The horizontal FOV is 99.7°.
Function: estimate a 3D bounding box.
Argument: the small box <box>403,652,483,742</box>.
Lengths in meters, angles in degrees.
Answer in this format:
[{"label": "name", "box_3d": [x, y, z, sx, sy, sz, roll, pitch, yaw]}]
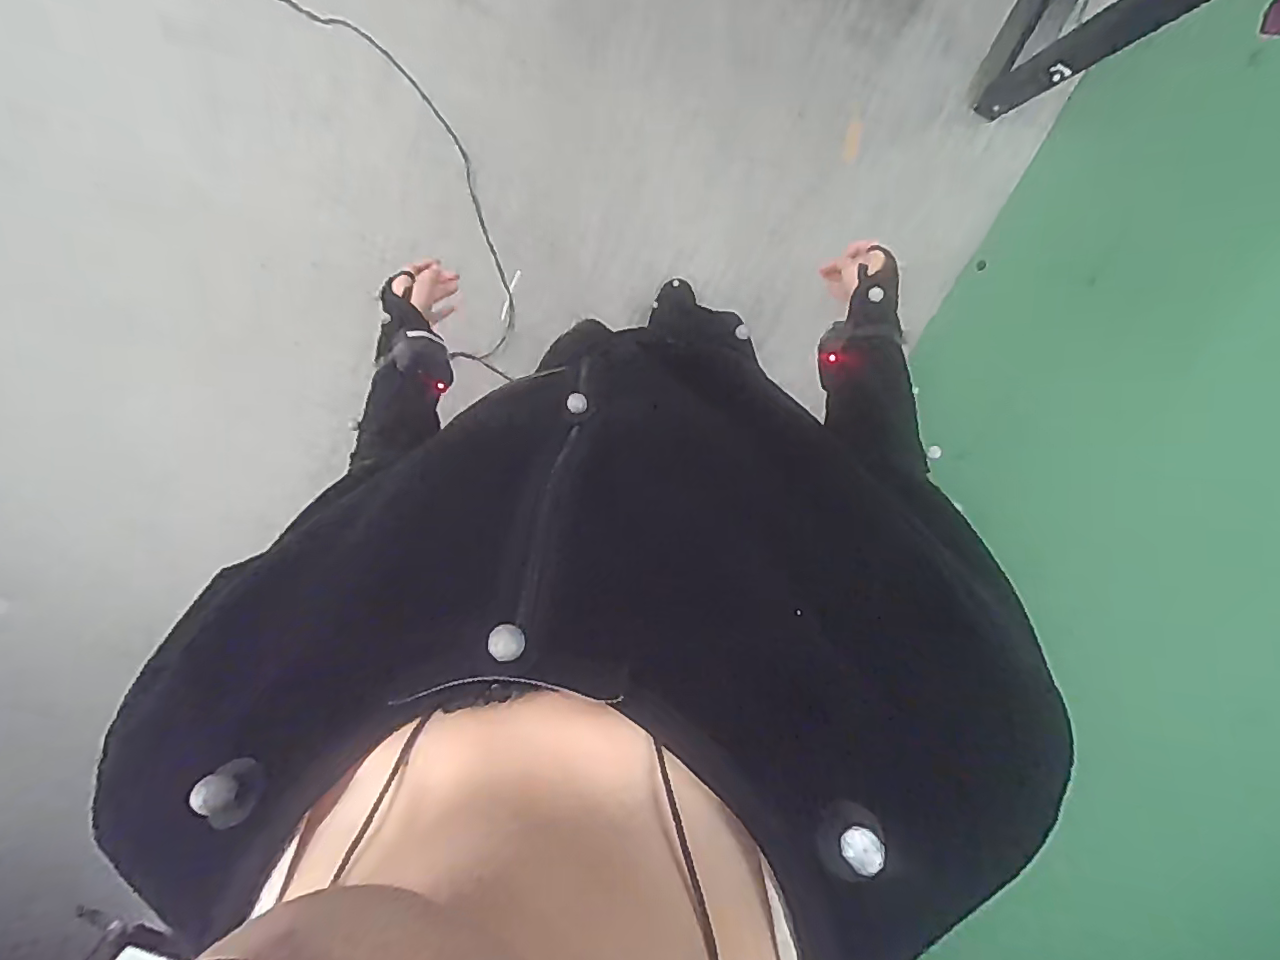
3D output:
[{"label": "small box", "box_3d": [-0.615, 0.678, 1.712, 0.168, 0.176, 0.179, 23, 110, -4]}]
